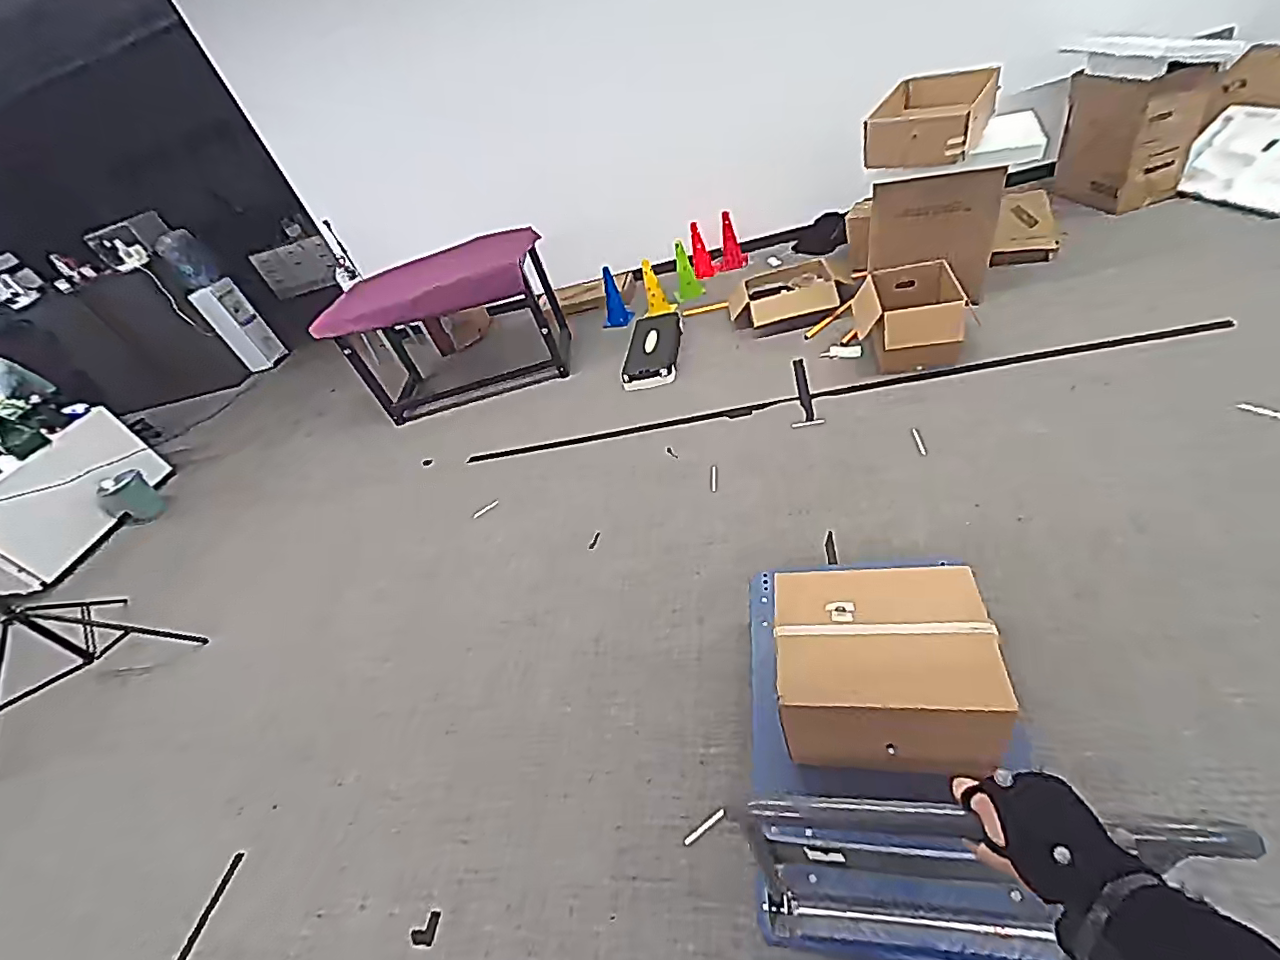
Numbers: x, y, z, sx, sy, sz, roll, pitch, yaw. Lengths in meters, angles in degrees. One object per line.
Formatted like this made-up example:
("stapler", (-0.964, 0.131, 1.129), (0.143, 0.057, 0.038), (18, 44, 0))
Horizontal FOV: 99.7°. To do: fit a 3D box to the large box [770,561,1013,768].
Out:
("large box", (0.512, 0.405, 1.174), (0.408, 0.320, 0.320), (-7, 41, 18))
